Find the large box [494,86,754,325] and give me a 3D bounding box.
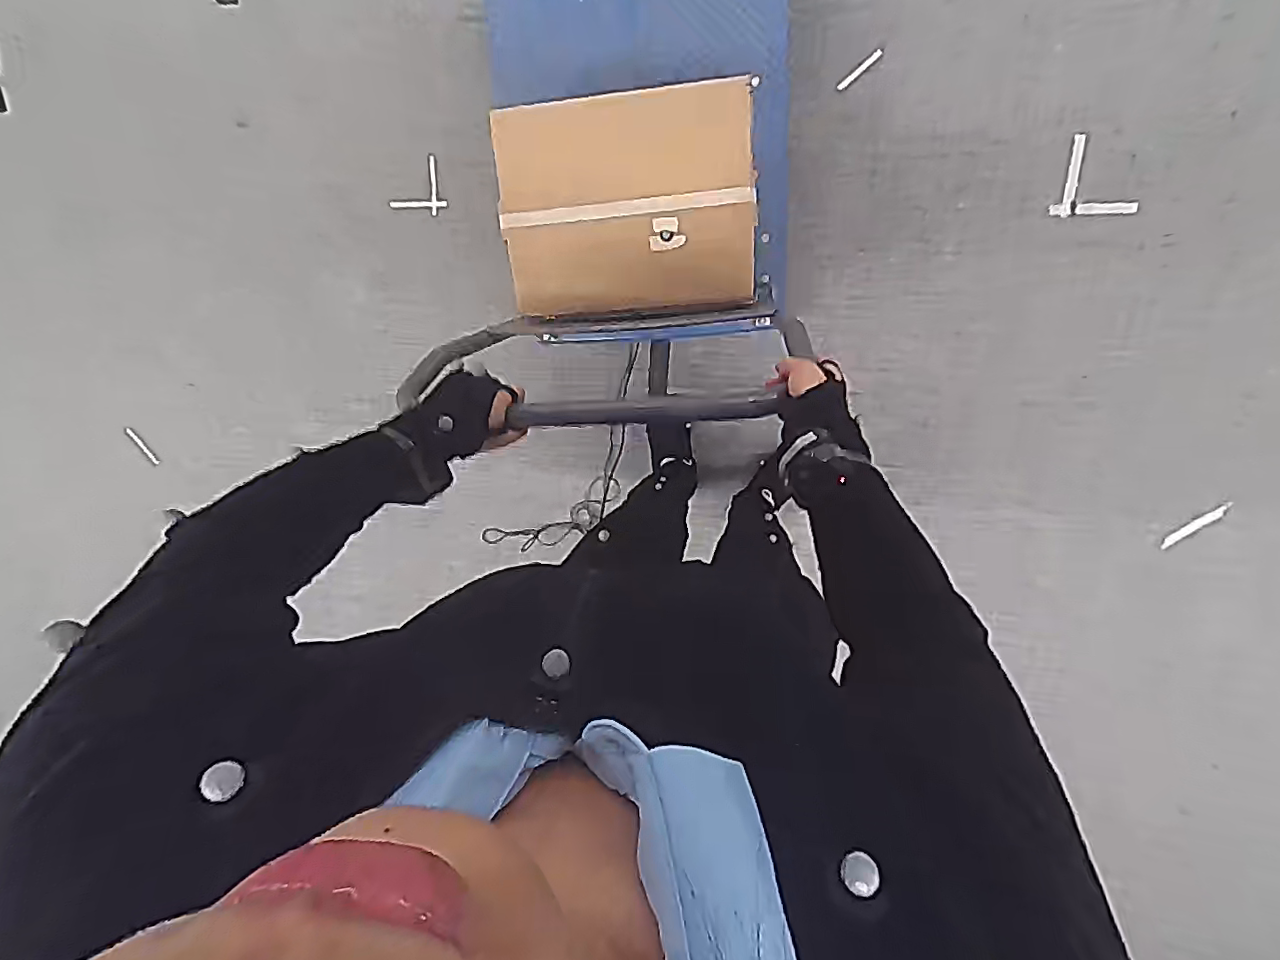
[{"bbox_3d":[-0.006,-0.477,1.010,0.408,0.320,0.320,-2,111,8],"label":"large box"}]
